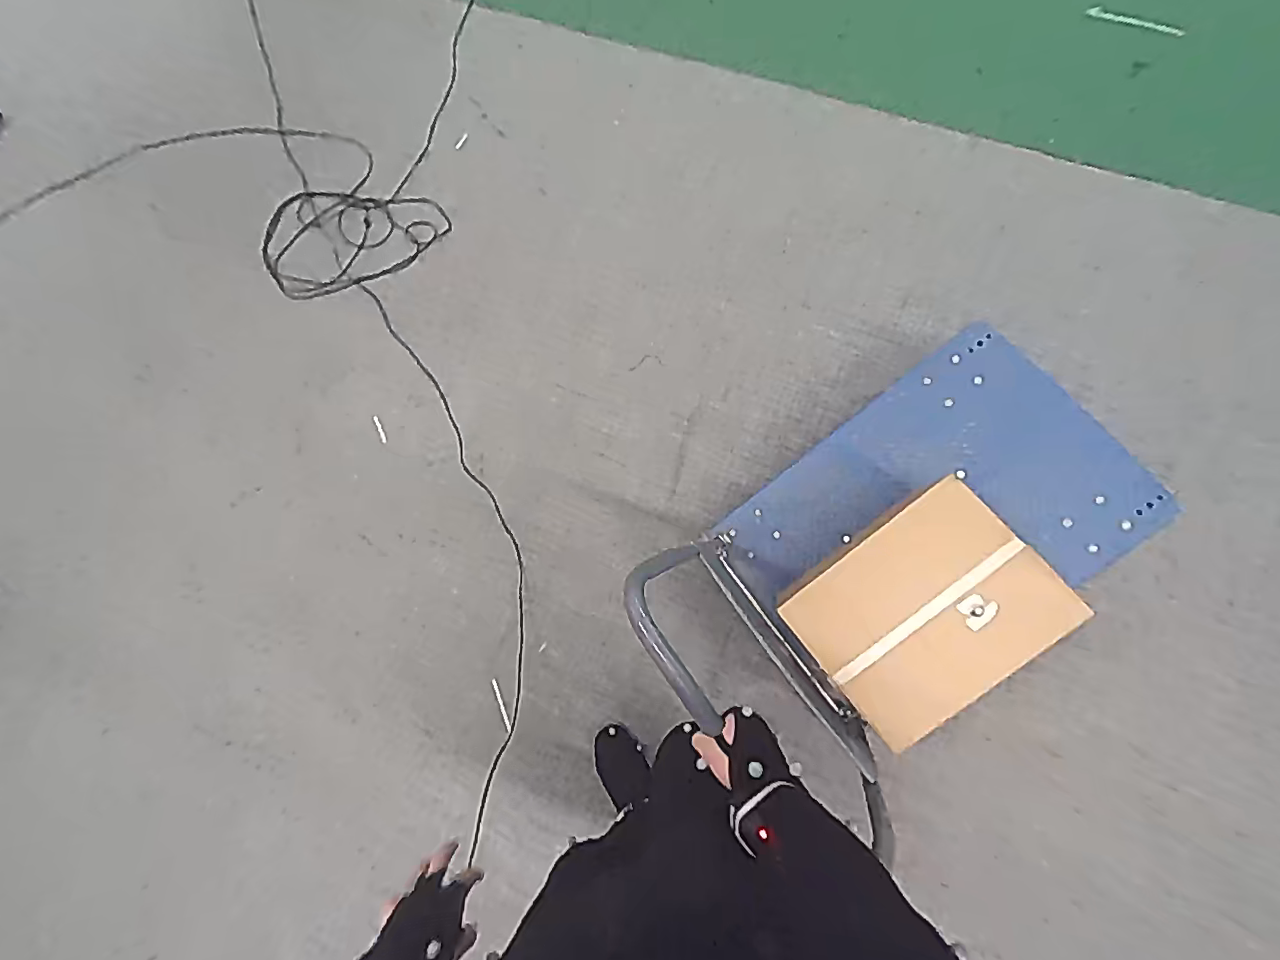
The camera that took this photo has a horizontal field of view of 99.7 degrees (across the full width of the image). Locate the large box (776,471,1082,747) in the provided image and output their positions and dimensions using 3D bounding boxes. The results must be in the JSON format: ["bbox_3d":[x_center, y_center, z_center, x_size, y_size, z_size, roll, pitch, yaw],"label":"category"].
[{"bbox_3d":[0.528,0.244,1.091,0.408,0.320,0.320,-39,76,6],"label":"large box"}]
